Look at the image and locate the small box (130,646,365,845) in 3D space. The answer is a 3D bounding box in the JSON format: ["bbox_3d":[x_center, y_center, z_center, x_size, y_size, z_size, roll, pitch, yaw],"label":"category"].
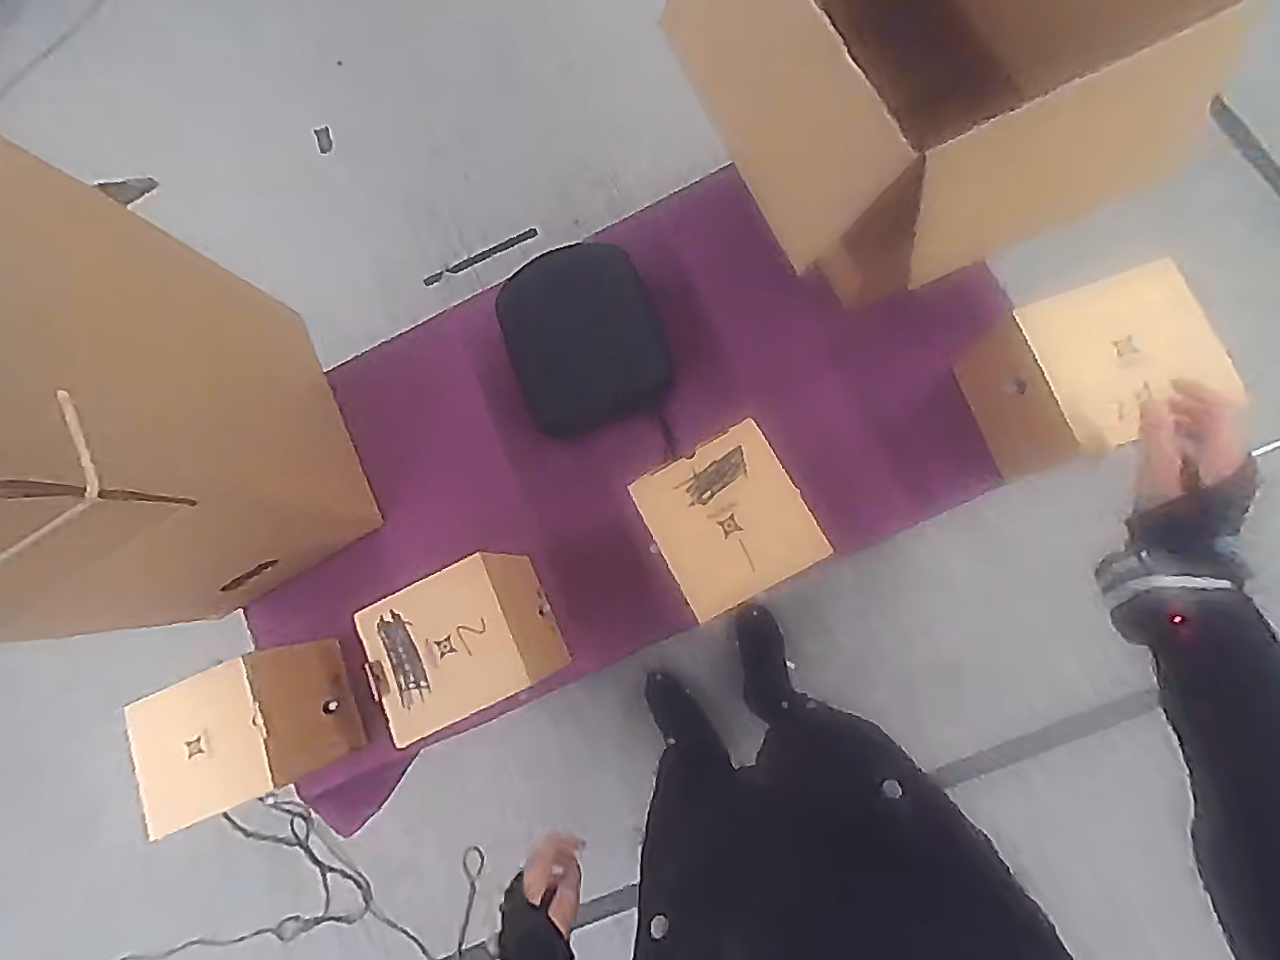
[{"bbox_3d":[-0.516,0.340,0.729,0.179,0.176,0.168,-25,78,3],"label":"small box"}]

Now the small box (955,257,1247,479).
[{"bbox_3d":[0.509,-0.117,0.634,0.168,0.176,0.179,-19,78,7],"label":"small box"}]

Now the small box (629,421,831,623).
[{"bbox_3d":[0.106,0.057,0.674,0.168,0.176,0.179,-30,78,4],"label":"small box"}]
